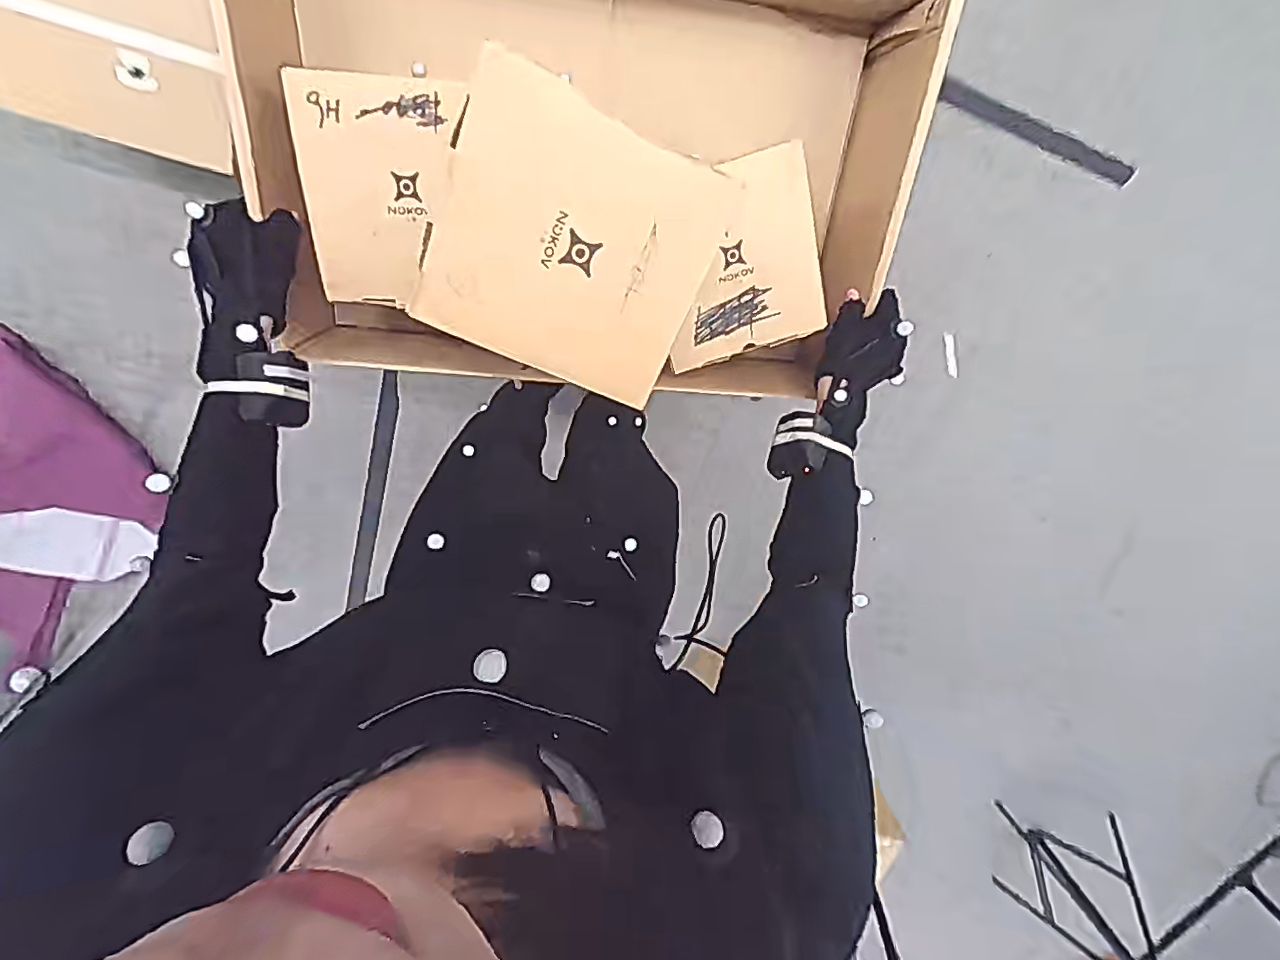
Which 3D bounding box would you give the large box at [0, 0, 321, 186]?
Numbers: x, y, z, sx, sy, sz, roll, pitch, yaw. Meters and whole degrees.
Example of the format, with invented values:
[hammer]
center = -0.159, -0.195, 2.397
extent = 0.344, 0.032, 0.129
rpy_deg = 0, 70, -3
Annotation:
[large box]
center = -0.850, -0.757, 0.959
extent = 0.408, 0.320, 0.320
rpy_deg = 11, 112, -12
